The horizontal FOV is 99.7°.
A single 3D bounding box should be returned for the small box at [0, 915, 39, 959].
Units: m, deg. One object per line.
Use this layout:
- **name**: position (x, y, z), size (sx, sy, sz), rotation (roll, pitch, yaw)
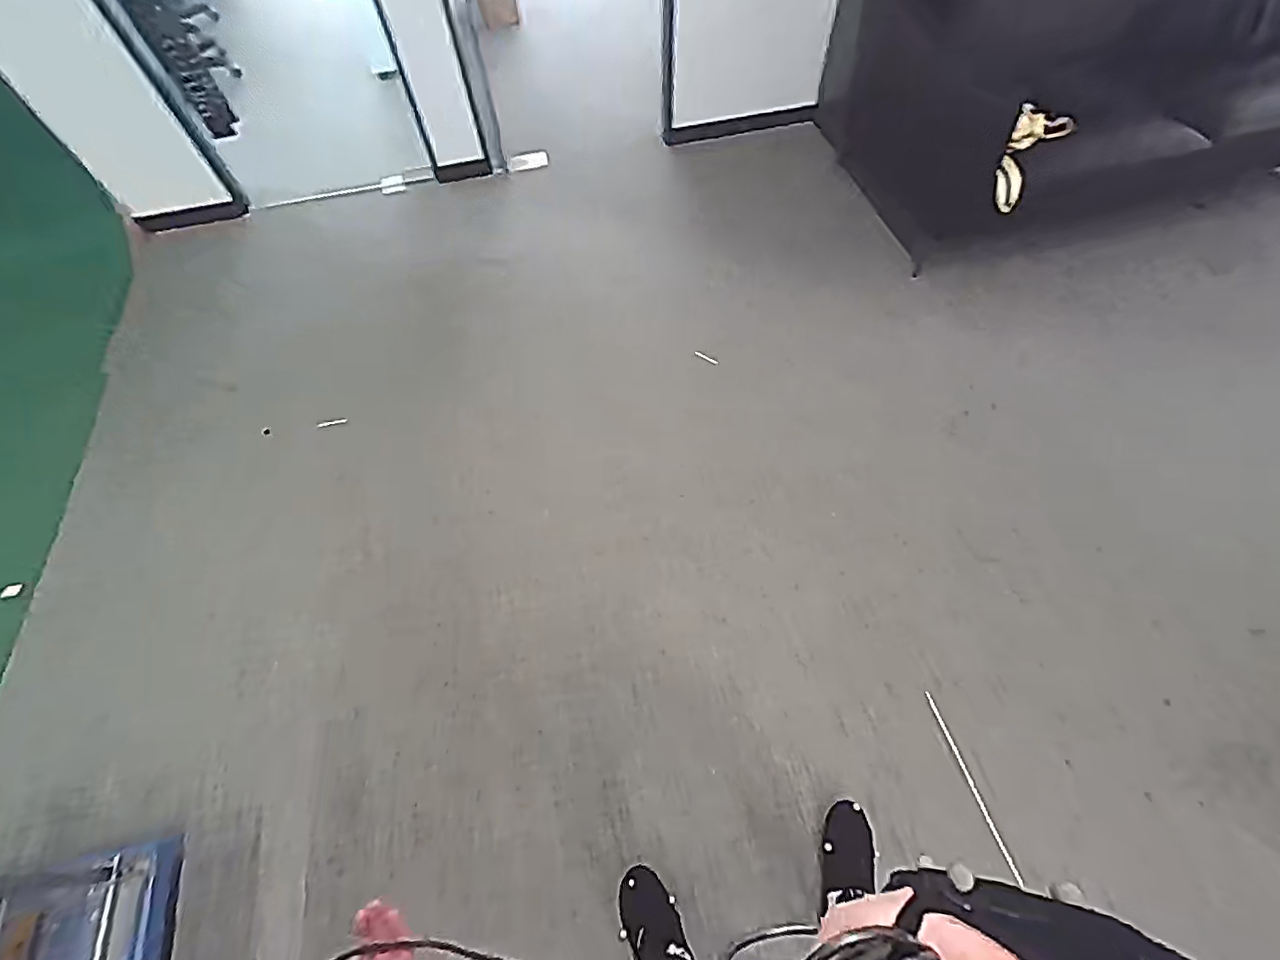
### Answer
- **small box**: position (-1.310, 0.939, 1.002), size (0.179, 0.176, 0.168), rotation (-11, 59, -6)
